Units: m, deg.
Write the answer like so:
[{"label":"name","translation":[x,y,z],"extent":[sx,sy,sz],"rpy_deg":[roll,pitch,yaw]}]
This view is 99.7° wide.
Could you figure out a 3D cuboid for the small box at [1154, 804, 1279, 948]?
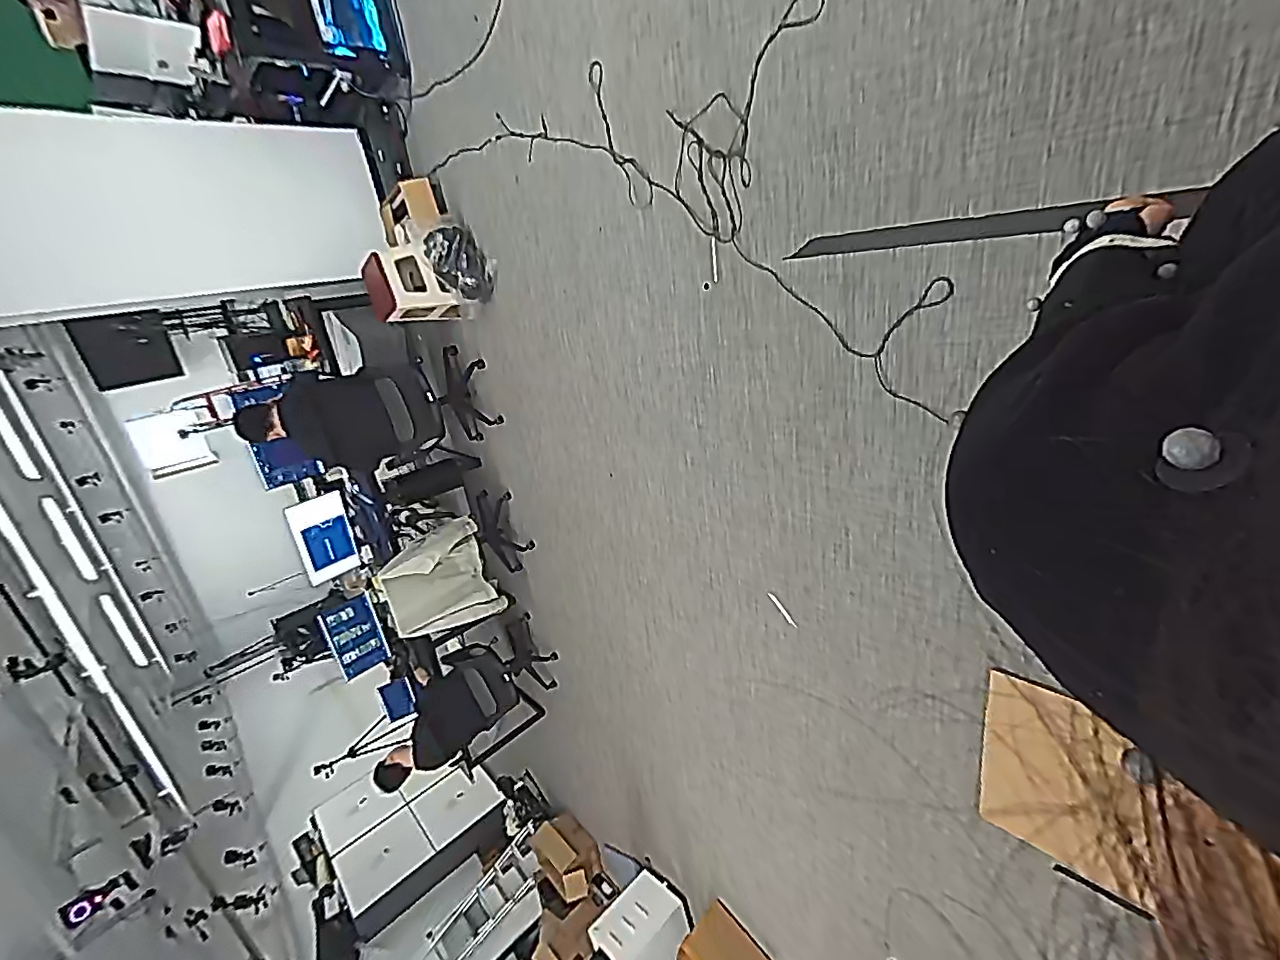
[{"label":"small box","translation":[1.346,0.912,1.264],"extent":[0.168,0.176,0.179],"rpy_deg":[19,125,45]}]

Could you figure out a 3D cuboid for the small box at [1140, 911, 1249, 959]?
[{"label":"small box","translation":[1.105,1.029,1.072],"extent":[0.168,0.176,0.179],"rpy_deg":[16,122,46]}]
